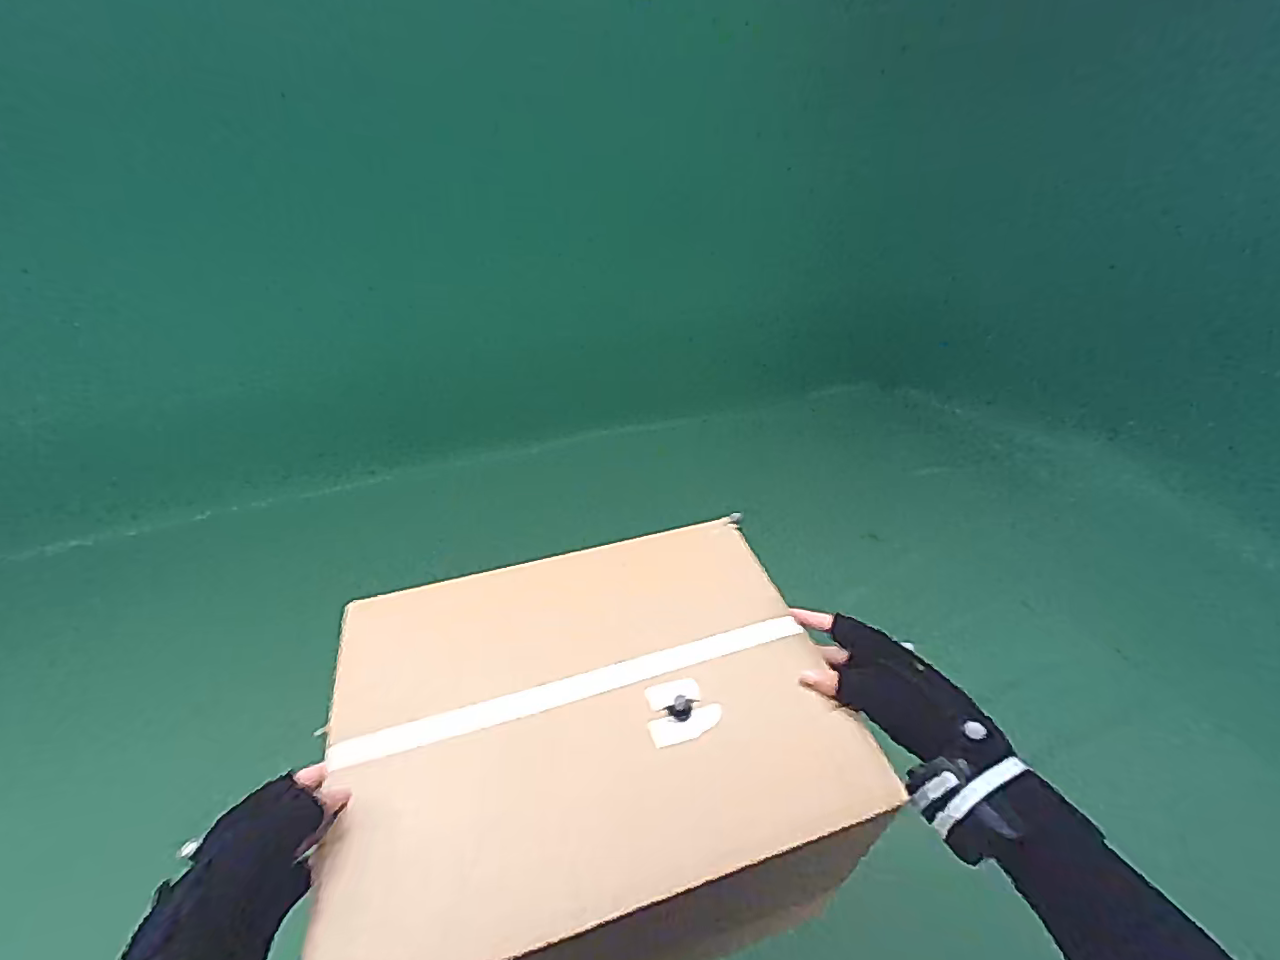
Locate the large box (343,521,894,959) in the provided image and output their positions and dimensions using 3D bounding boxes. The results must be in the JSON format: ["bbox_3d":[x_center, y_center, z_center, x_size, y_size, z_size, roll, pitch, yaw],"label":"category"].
[{"bbox_3d":[-0.035,0.294,0.568,0.408,0.320,0.320,-12,41,-13],"label":"large box"}]
